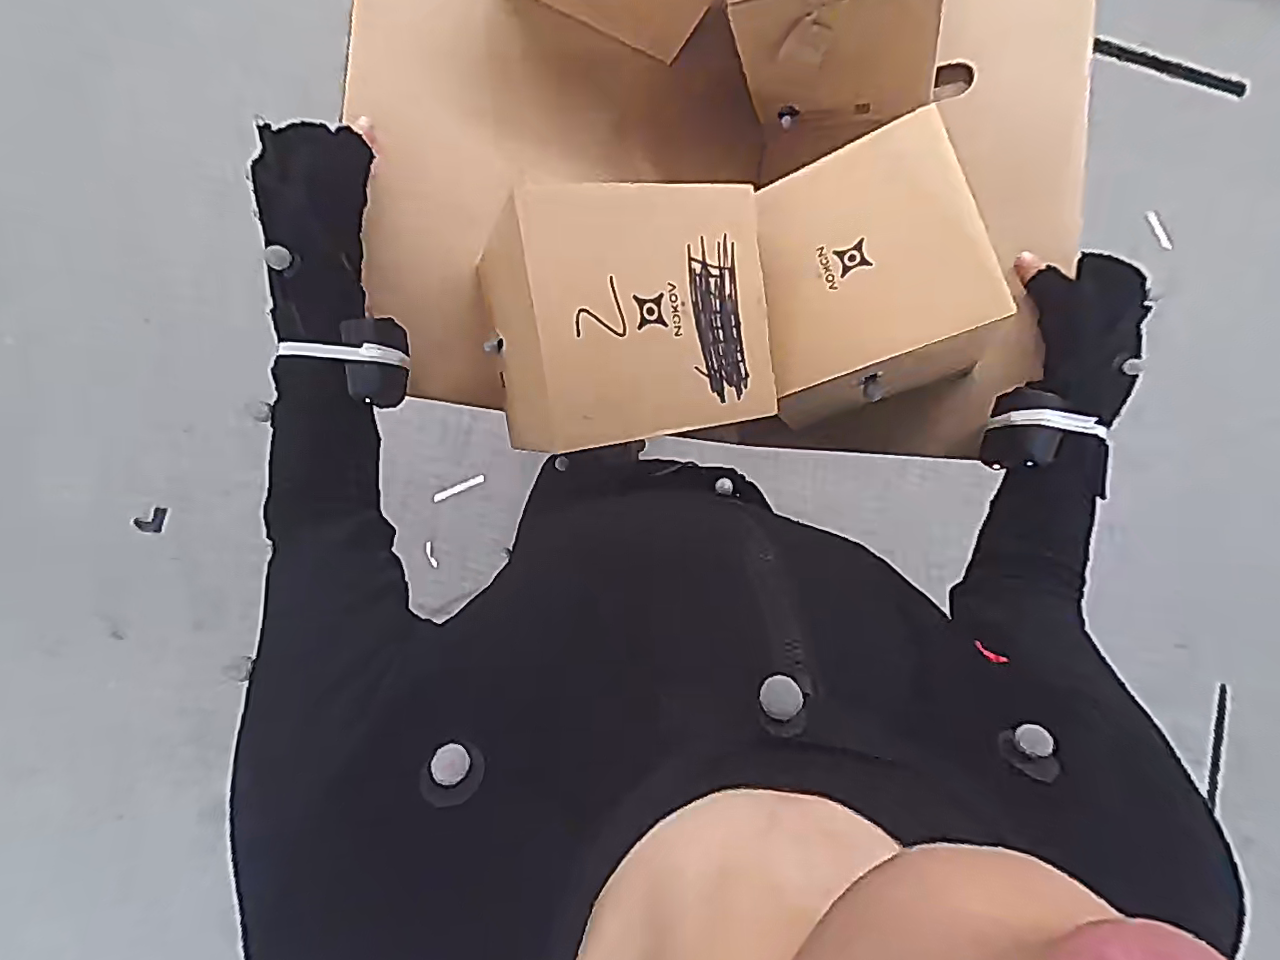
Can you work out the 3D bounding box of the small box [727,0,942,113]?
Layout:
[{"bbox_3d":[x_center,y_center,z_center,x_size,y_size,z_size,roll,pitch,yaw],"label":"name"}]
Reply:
[{"bbox_3d":[0.189,-0.472,0.494,0.168,0.176,0.179,8,88,23],"label":"small box"}]
